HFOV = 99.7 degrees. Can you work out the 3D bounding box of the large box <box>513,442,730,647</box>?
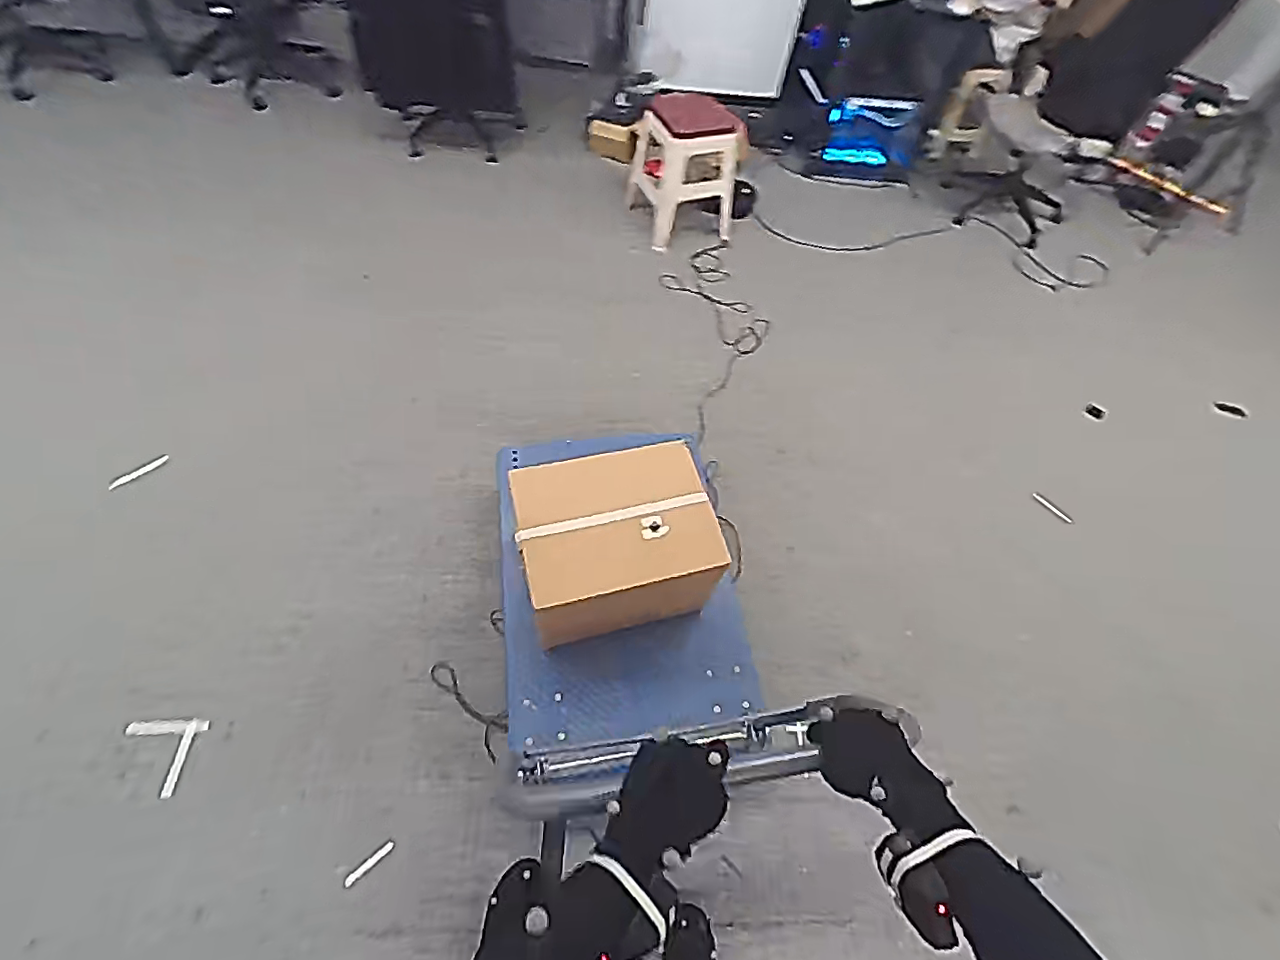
[{"bbox_3d":[-0.059,0.154,1.256,0.408,0.320,0.320,-11,61,-14],"label":"large box"}]
